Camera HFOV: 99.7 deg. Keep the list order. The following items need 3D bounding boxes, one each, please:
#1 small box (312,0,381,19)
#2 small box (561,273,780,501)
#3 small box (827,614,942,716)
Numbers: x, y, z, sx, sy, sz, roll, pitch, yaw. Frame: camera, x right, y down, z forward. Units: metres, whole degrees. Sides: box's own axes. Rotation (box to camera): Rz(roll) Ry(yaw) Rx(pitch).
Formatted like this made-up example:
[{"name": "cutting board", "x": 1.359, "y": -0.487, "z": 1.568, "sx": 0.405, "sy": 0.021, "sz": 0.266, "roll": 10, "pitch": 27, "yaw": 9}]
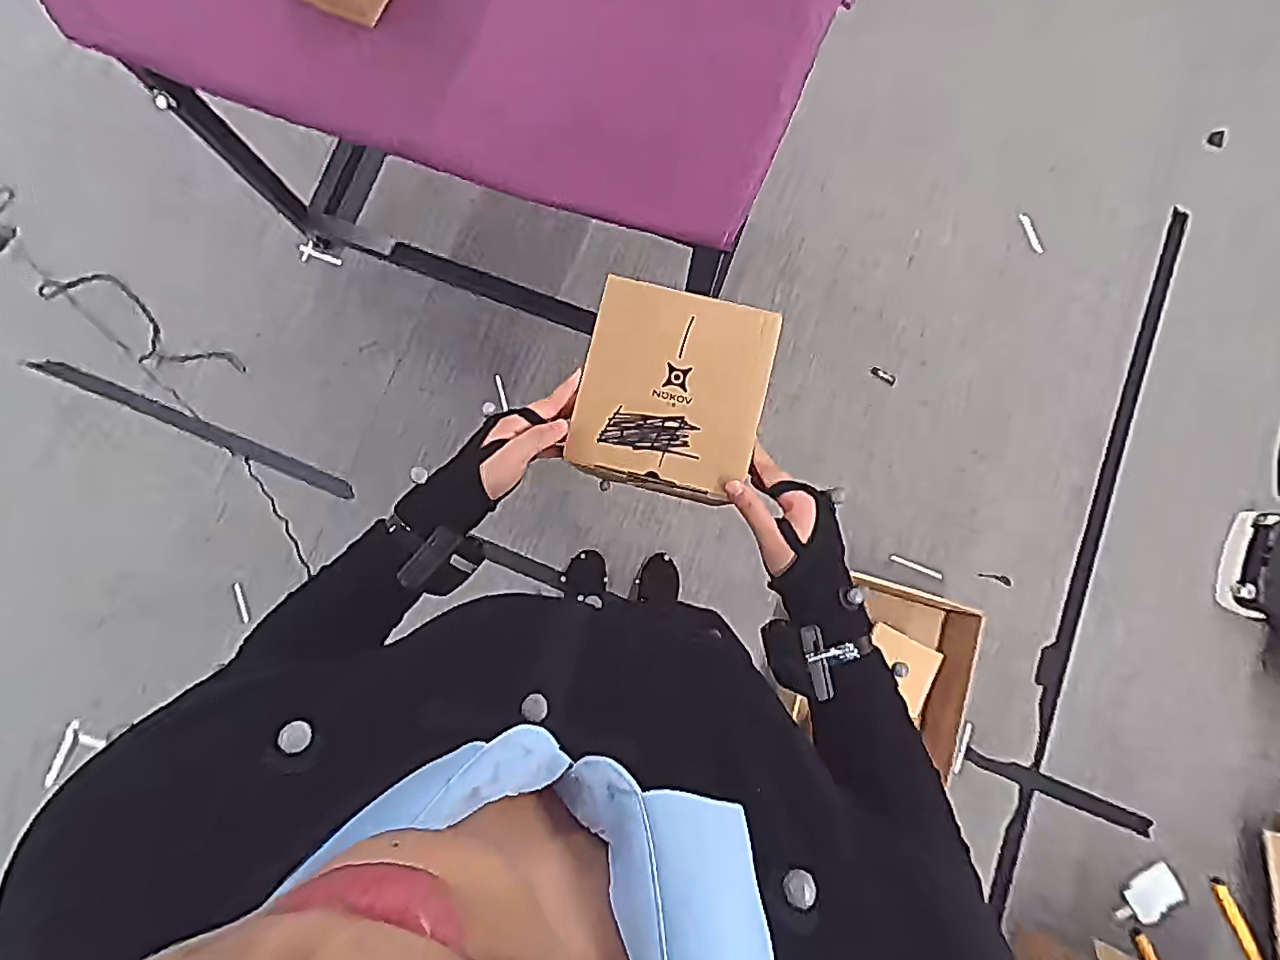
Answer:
[{"name": "small box", "x": -0.480, "y": -0.856, "z": 0.813, "sx": 0.179, "sy": 0.176, "sz": 0.168, "roll": 22, "pitch": 83, "yaw": 2}, {"name": "small box", "x": 0.029, "y": -0.079, "z": 0.559, "sx": 0.168, "sy": 0.176, "sz": 0.179, "roll": 13, "pitch": 86, "yaw": 1}, {"name": "small box", "x": 0.604, "y": 0.452, "z": 1.356, "sx": 0.179, "sy": 0.176, "sz": 0.168, "roll": 27, "pitch": 85, "yaw": 2}]
